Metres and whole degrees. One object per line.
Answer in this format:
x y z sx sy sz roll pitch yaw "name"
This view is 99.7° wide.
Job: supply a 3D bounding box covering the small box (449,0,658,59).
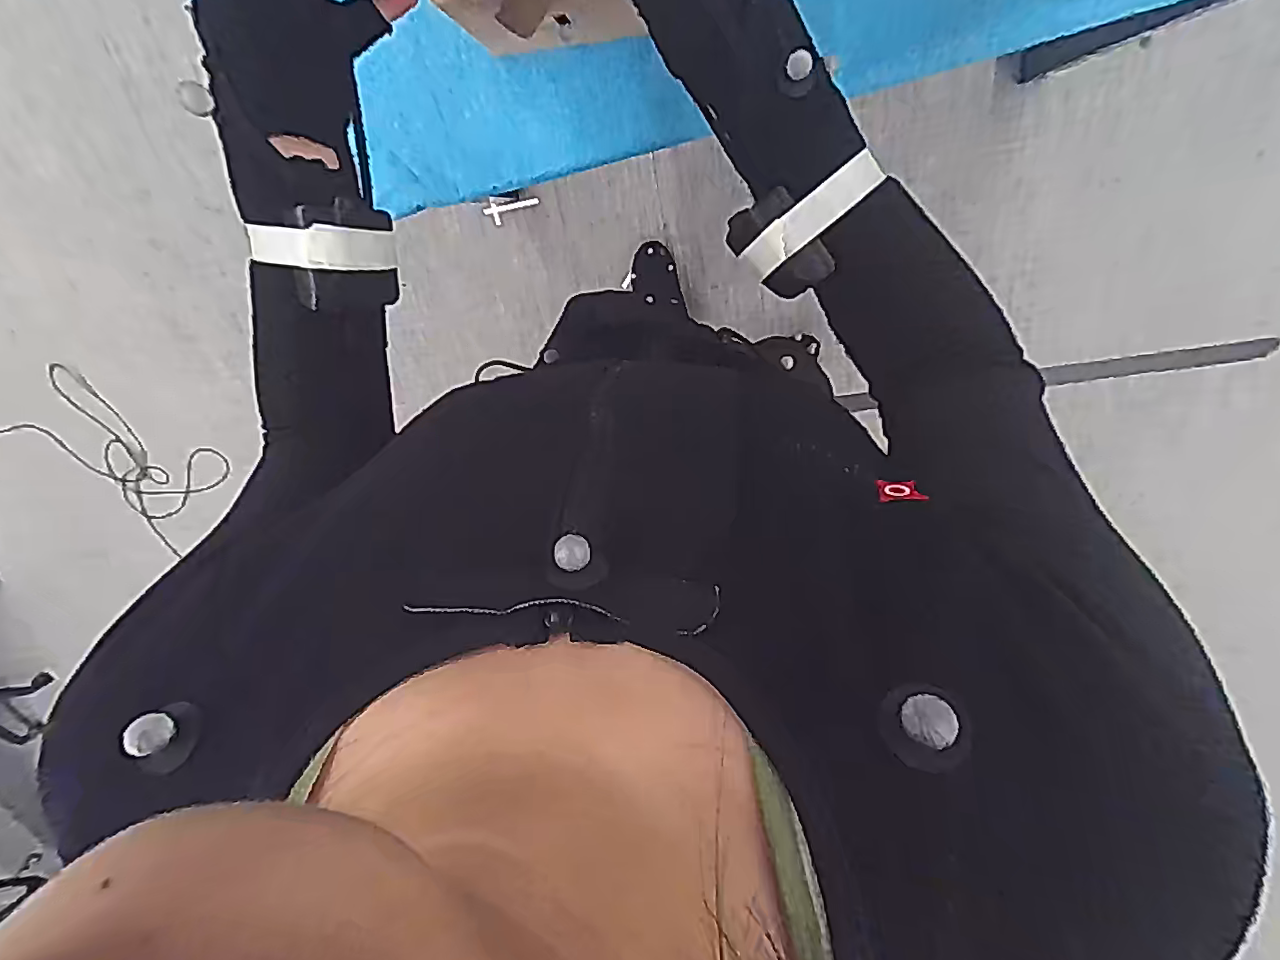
-0.079 -0.480 0.437 0.168 0.176 0.179 -4 116 6 "small box"
